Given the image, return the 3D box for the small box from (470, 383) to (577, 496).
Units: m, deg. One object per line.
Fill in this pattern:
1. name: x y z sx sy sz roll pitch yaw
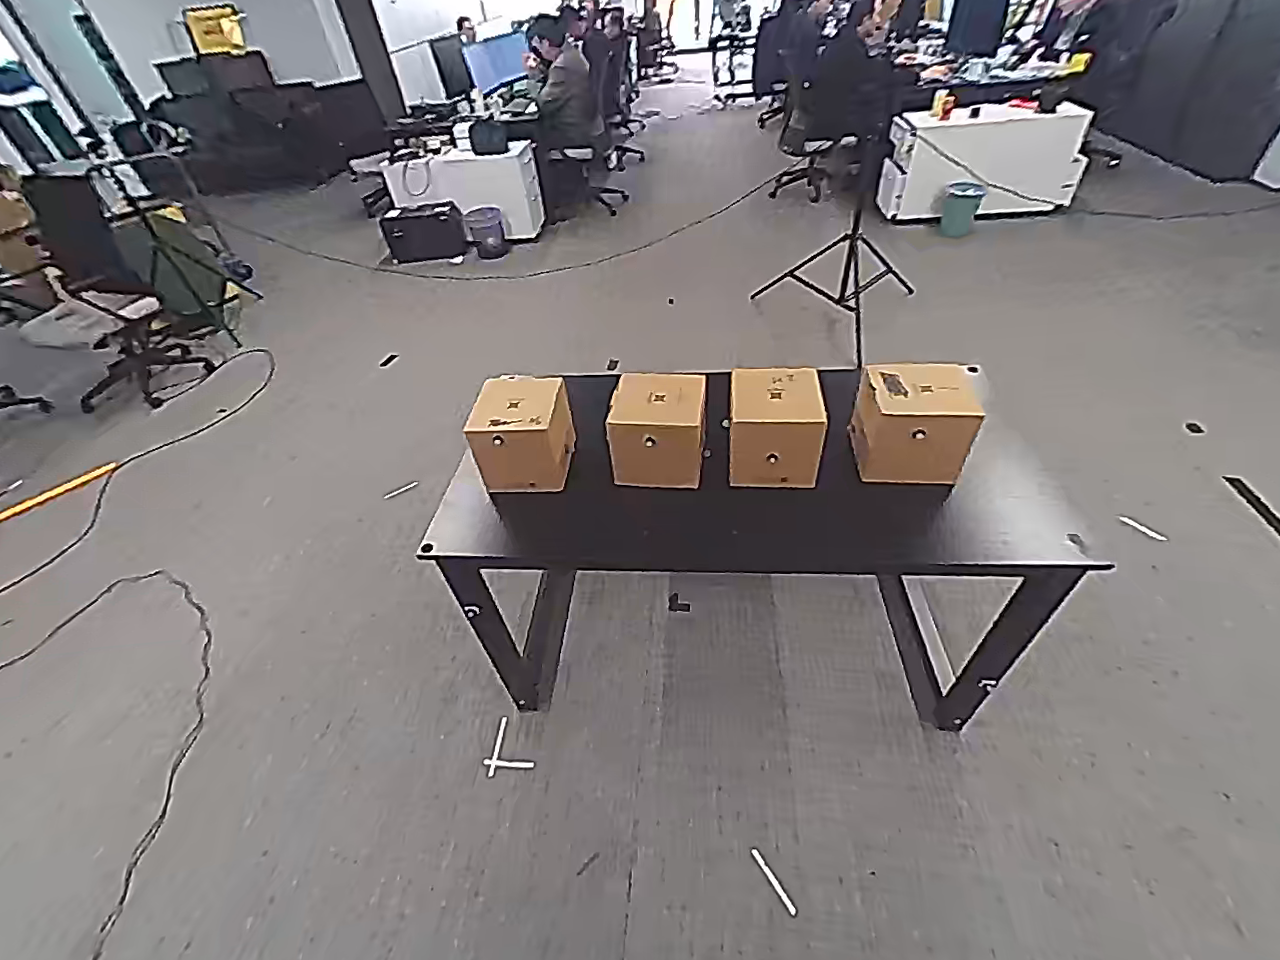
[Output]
1. small box: -0.233 -0.086 1.140 0.168 0.176 0.179 -1 44 7

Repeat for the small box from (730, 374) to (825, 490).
1. small box: 0.270 -0.095 1.088 0.168 0.176 0.179 1 44 8

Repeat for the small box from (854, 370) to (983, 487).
1. small box: 0.529 -0.100 1.061 0.179 0.176 0.168 2 44 8
